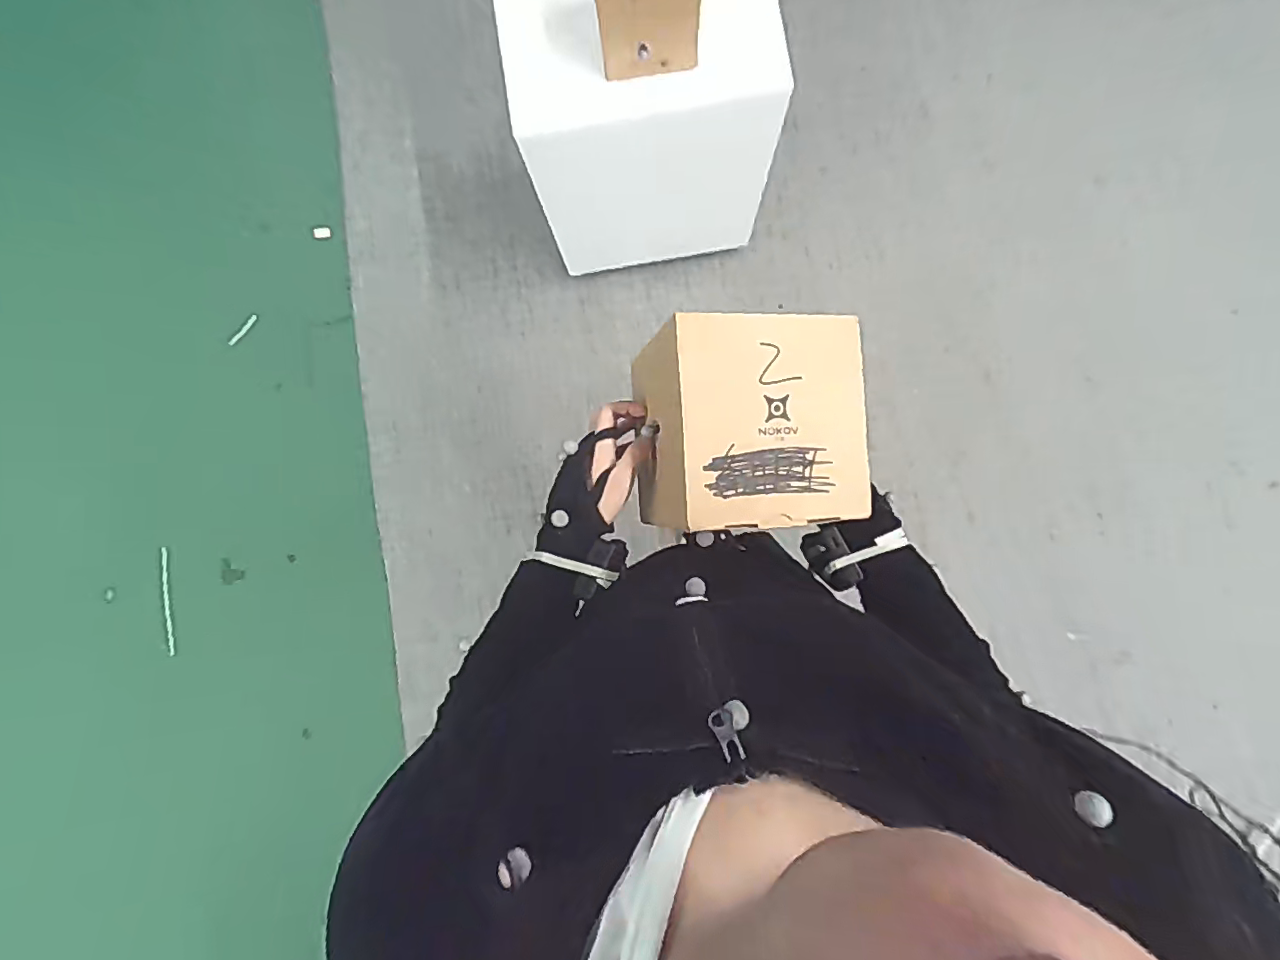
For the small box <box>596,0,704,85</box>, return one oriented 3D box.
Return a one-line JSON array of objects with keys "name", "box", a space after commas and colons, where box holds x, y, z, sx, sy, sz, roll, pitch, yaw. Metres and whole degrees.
[{"name": "small box", "box": [0.010, -0.803, 0.889, 0.168, 0.176, 0.179, -7, 84, 3]}]
